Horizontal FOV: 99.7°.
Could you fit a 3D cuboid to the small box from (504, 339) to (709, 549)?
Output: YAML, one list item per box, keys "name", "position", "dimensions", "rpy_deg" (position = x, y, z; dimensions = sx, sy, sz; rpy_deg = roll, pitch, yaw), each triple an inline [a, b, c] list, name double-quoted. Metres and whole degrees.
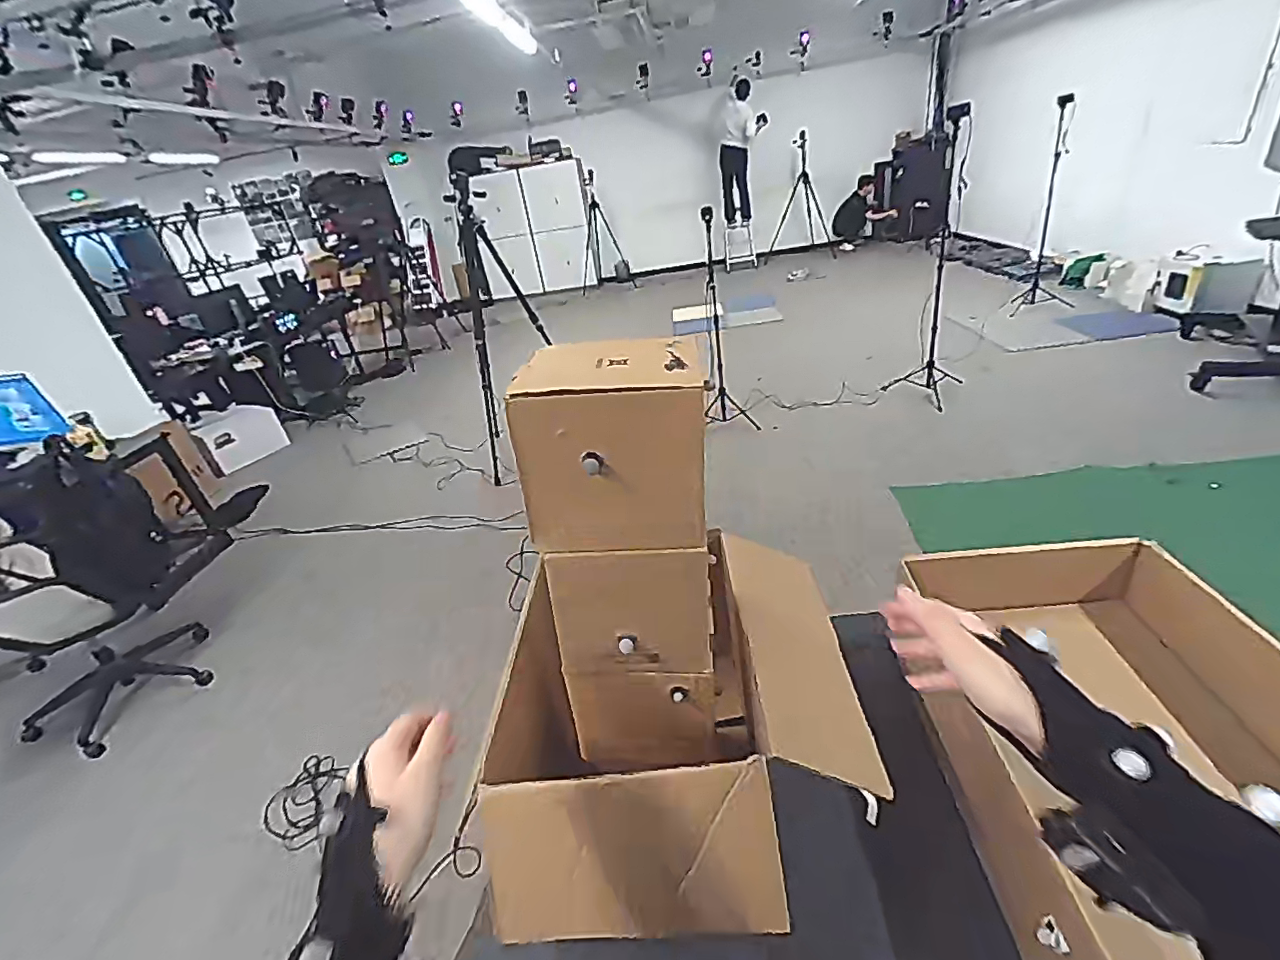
- name: "small box"
  position: [-0.022, -0.040, 0.568]
  dimensions: [0.179, 0.176, 0.168]
  rpy_deg: [-3, 29, 4]

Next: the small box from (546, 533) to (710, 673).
- name: "small box"
  position: [-0.006, 0.104, 0.645]
  dimensions: [0.168, 0.176, 0.179]
  rpy_deg: [-3, 29, 4]
